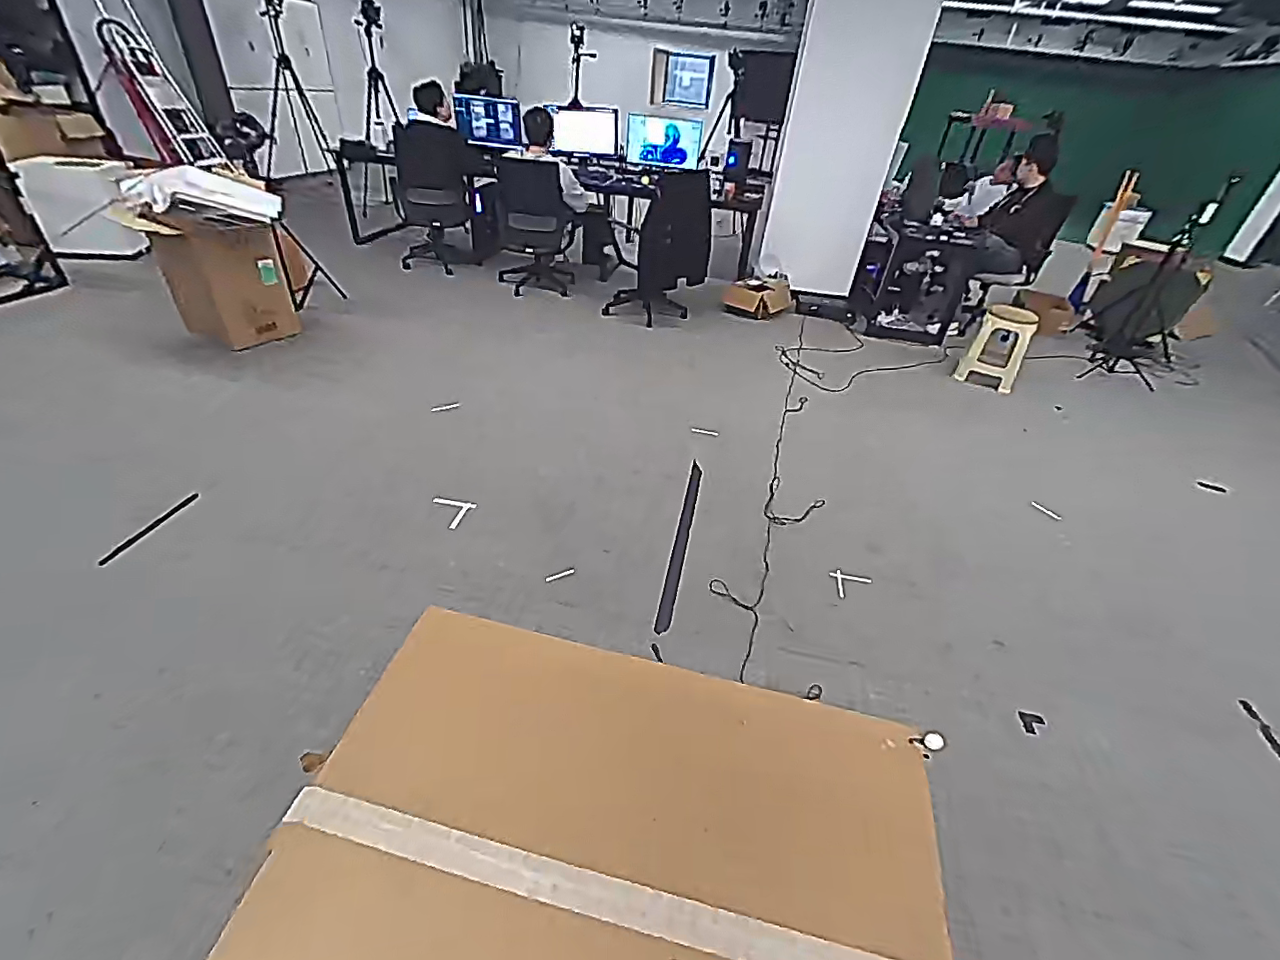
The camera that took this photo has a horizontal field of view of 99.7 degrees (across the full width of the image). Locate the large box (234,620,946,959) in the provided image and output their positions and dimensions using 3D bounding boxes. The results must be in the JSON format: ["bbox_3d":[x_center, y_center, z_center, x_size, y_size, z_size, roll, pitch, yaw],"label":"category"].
[{"bbox_3d":[-0.027,0.363,0.433,0.408,0.320,0.320,12,44,7],"label":"large box"}]
